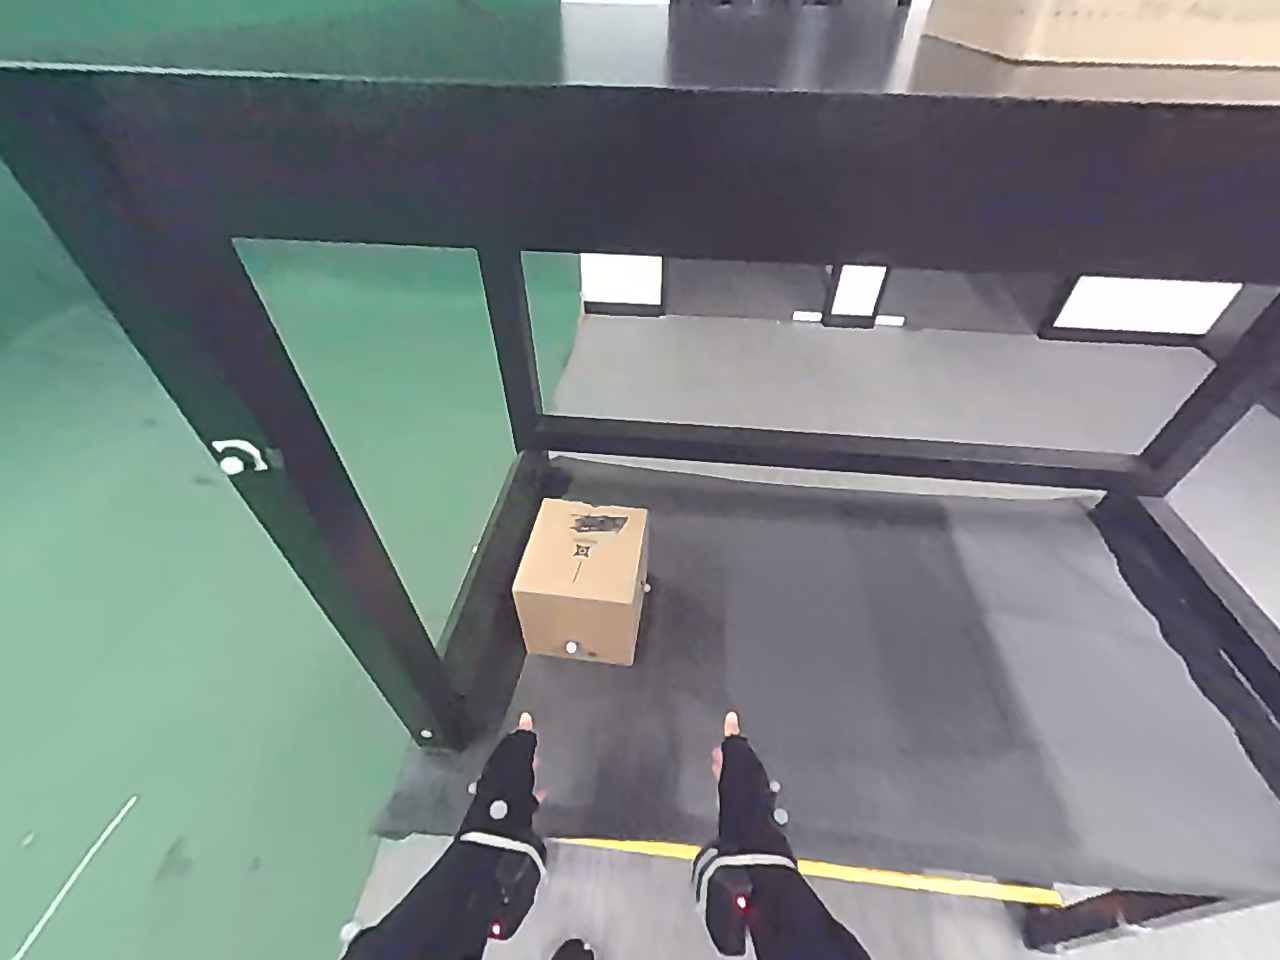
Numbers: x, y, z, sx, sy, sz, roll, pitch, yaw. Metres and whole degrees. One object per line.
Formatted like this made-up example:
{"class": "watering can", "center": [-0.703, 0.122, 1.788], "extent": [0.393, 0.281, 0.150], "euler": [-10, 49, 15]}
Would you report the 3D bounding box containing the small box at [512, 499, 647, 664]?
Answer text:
{"class": "small box", "center": [-0.083, 0.154, 0.831], "extent": [0.168, 0.176, 0.179], "euler": [5, 44, 5]}
